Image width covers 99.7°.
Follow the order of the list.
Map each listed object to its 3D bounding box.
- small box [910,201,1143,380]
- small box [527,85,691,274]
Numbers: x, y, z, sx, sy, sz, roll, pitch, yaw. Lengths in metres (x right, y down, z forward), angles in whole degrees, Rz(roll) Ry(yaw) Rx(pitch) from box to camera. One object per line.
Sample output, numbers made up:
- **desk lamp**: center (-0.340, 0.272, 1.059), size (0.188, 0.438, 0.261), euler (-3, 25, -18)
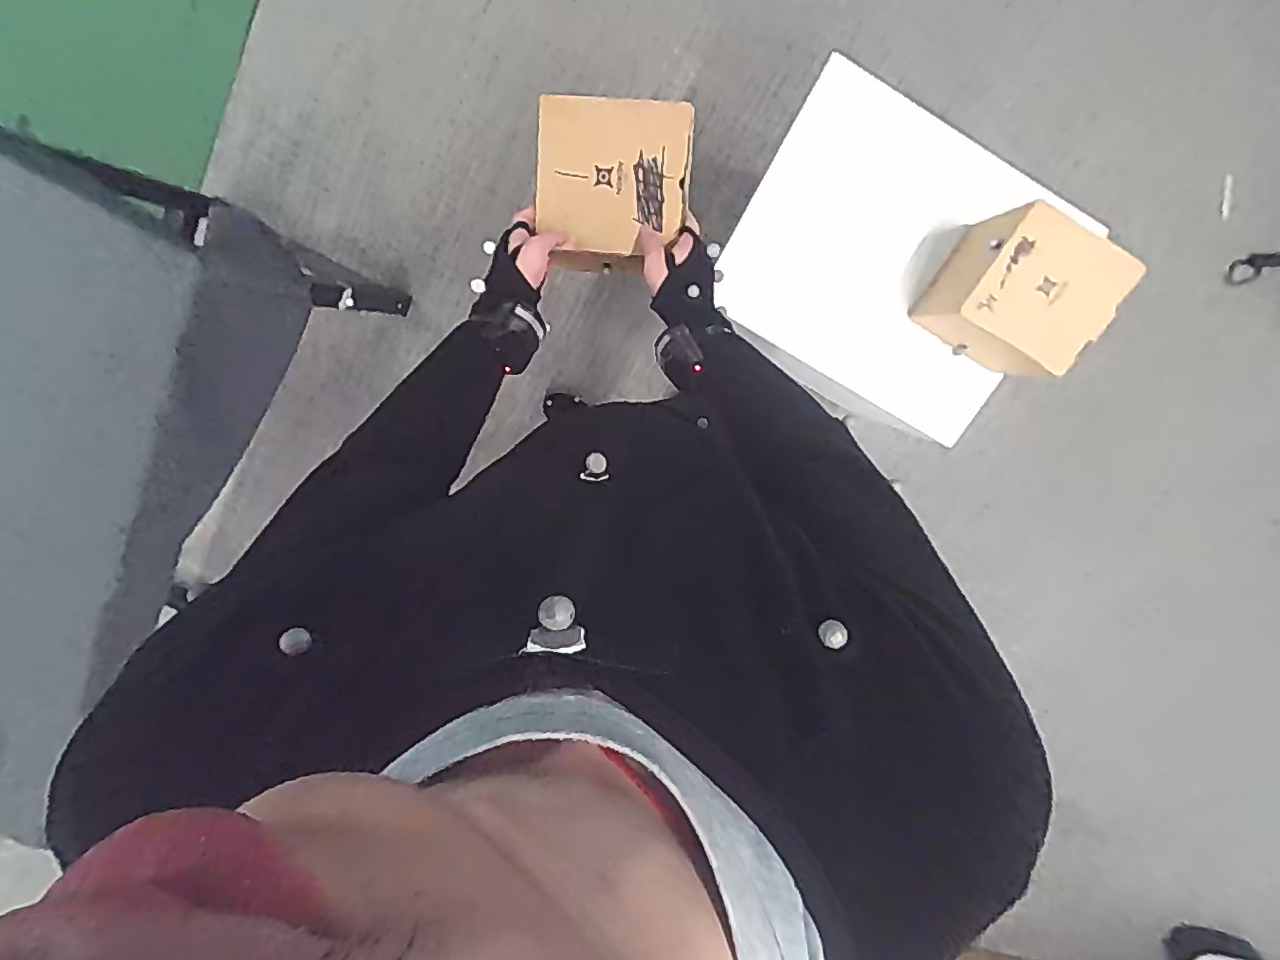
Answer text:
- **small box**: center (0.543, -0.267, 0.788), size (0.179, 0.176, 0.168), euler (30, 103, -6)
- **small box**: center (-0.033, -0.361, 0.682), size (0.179, 0.176, 0.168), euler (5, 103, 3)
